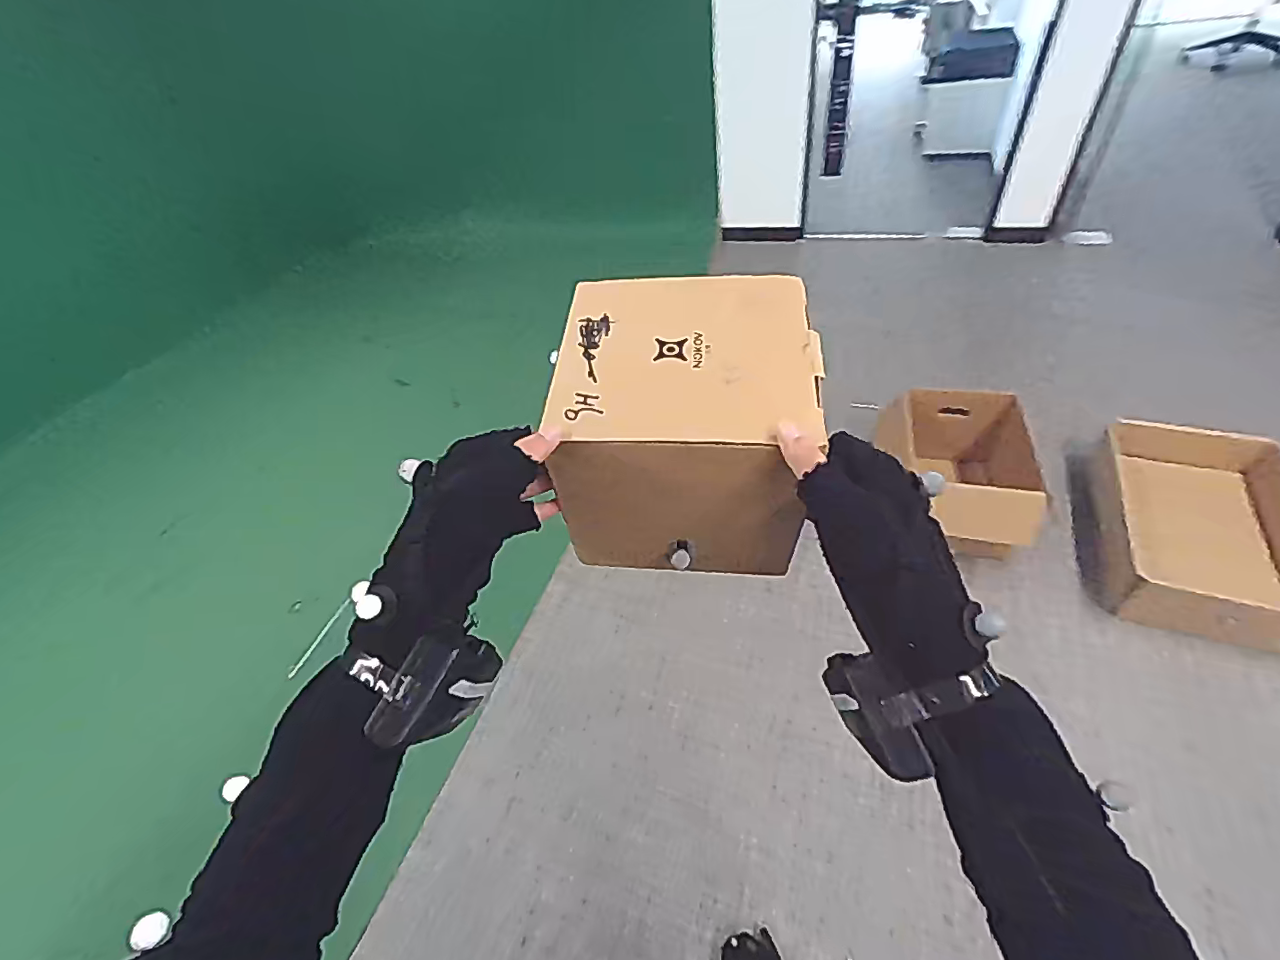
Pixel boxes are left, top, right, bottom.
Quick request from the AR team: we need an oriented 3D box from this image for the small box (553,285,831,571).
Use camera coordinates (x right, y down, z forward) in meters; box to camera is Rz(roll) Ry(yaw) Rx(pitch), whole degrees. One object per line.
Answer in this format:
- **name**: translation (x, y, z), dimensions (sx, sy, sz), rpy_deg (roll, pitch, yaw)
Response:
- **small box**: translation (0.042, -0.036, 0.445), dimensions (0.179, 0.176, 0.168), rpy_deg (3, 54, 6)
